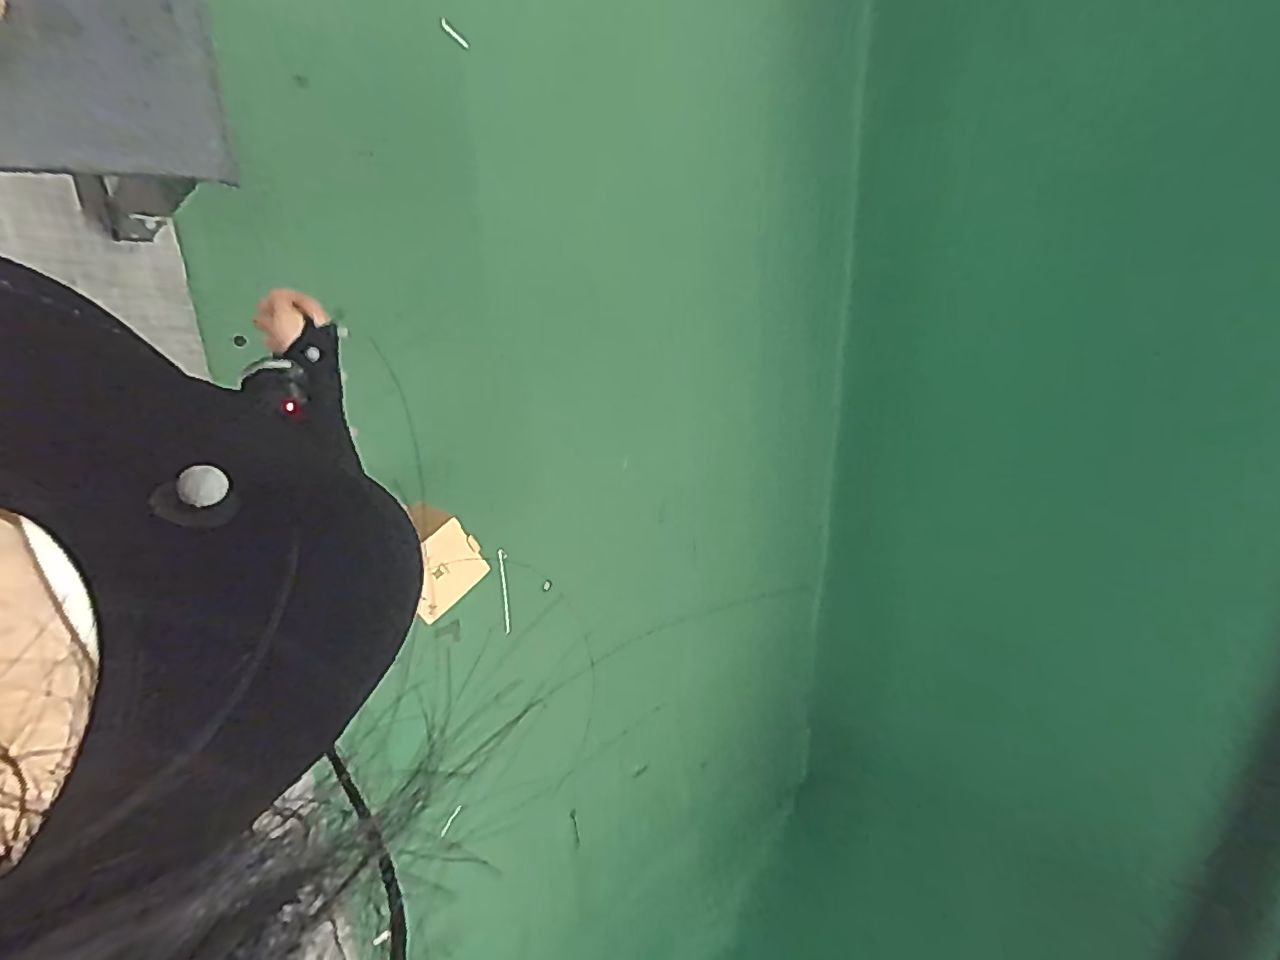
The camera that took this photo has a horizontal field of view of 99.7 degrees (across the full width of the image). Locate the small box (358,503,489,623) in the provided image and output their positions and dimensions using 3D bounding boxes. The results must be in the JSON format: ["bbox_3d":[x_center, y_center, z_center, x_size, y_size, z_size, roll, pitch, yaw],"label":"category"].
[{"bbox_3d":[-0.473,0.172,1.180,0.179,0.176,0.168,-45,129,-29],"label":"small box"}]
